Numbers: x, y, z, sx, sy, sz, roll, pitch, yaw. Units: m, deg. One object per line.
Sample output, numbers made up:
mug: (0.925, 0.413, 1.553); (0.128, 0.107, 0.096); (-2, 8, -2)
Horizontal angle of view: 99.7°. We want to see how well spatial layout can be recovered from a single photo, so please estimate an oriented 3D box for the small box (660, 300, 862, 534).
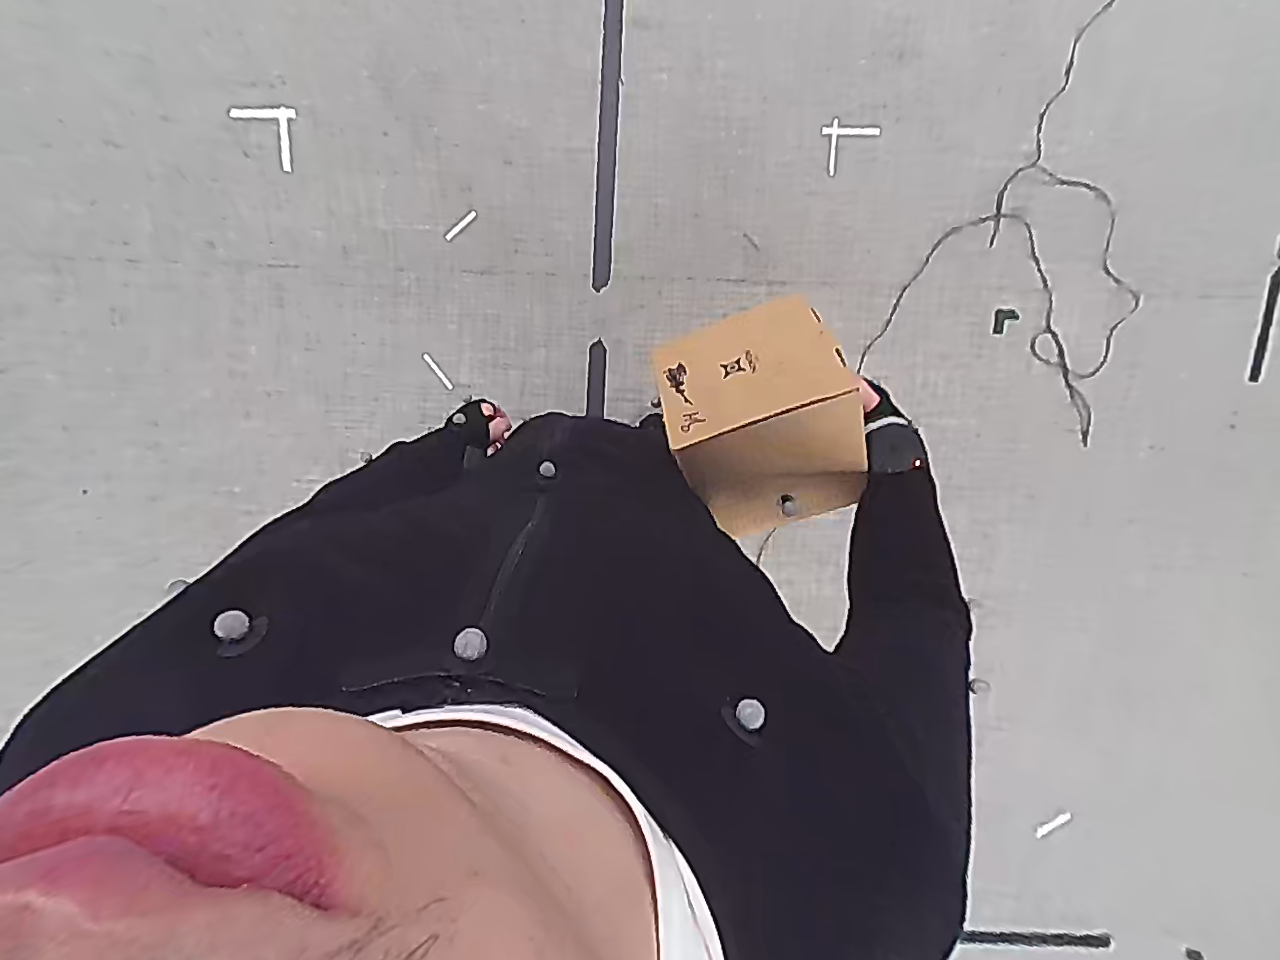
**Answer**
small box: (0.137, -0.065, 0.613); (0.179, 0.168, 0.176); (-18, 136, 11)
